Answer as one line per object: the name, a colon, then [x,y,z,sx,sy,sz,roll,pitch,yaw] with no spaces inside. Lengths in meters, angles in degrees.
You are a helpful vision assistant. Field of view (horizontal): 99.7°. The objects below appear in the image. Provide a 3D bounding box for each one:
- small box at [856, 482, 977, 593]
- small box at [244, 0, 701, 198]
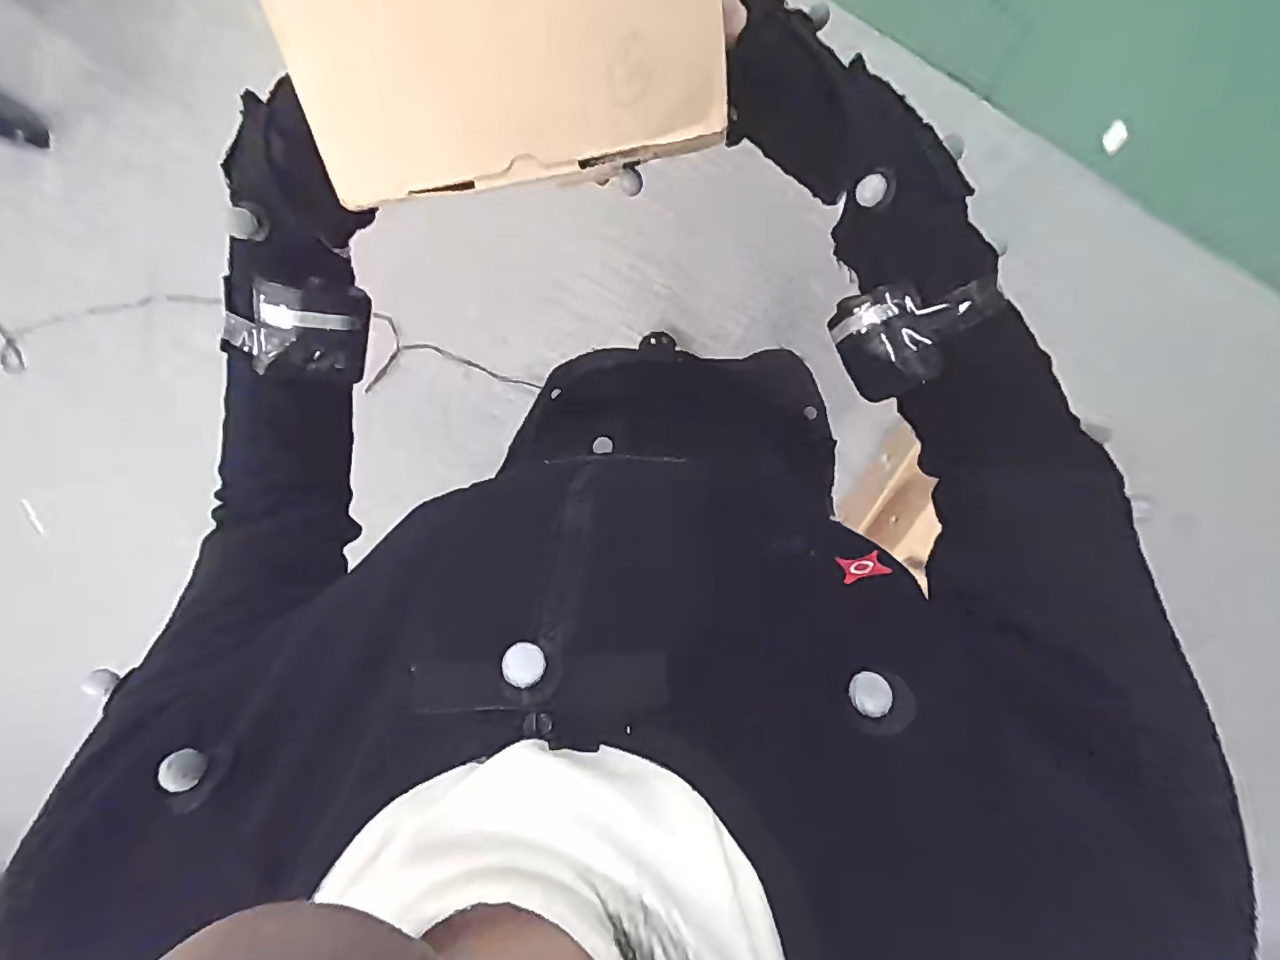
small box: [0.643,0.130,1.288,0.168,0.176,0.179,29,104,-3]
small box: [-0.064,-0.243,0.247,0.168,0.176,0.179,-8,118,6]
